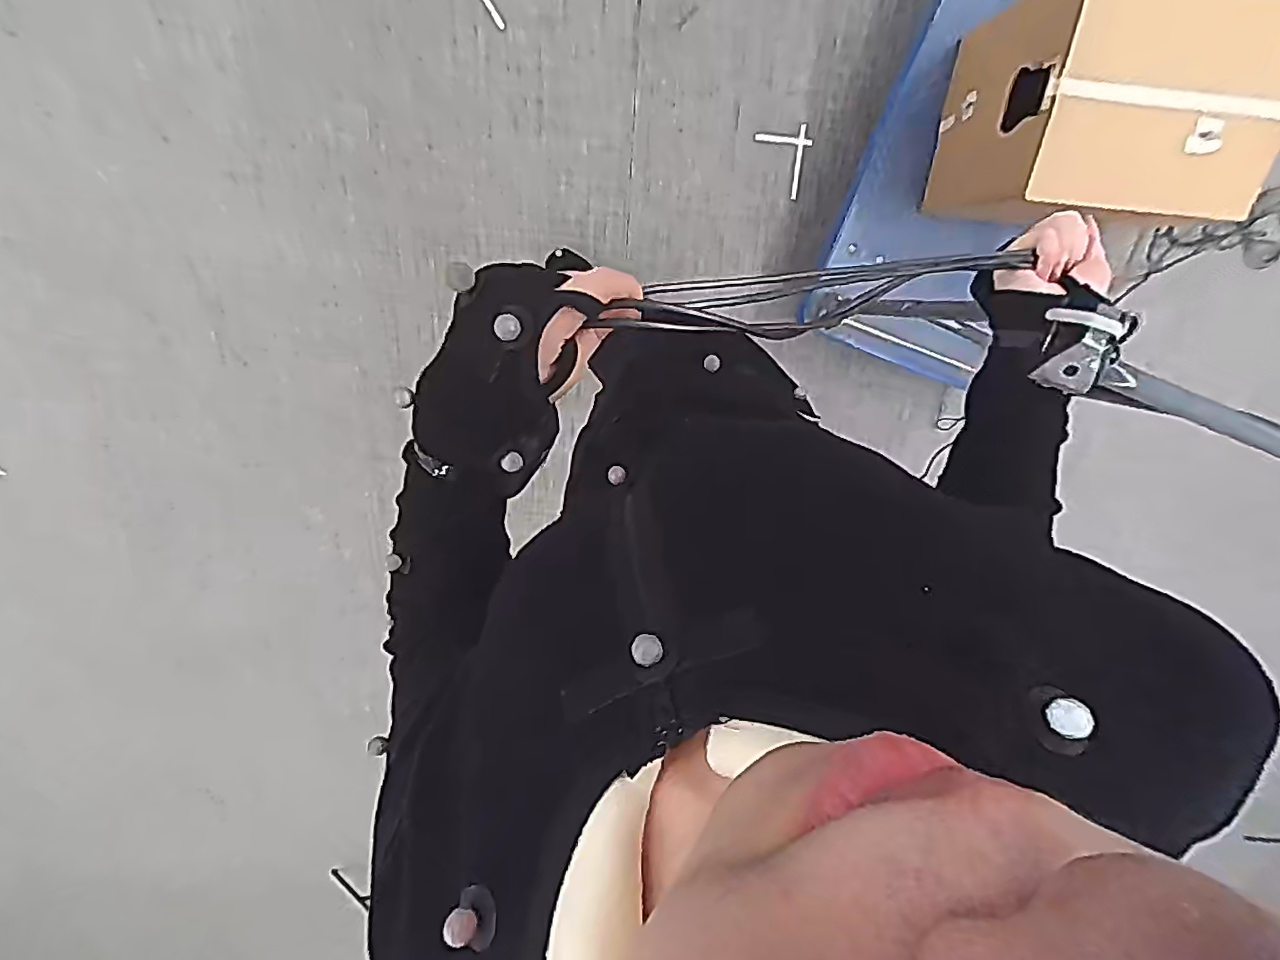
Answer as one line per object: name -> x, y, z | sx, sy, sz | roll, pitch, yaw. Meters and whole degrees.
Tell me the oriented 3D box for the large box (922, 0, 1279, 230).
large box -> 0.807, -0.641, 0.975 | 0.408, 0.320, 0.320 | 2, 112, -6
